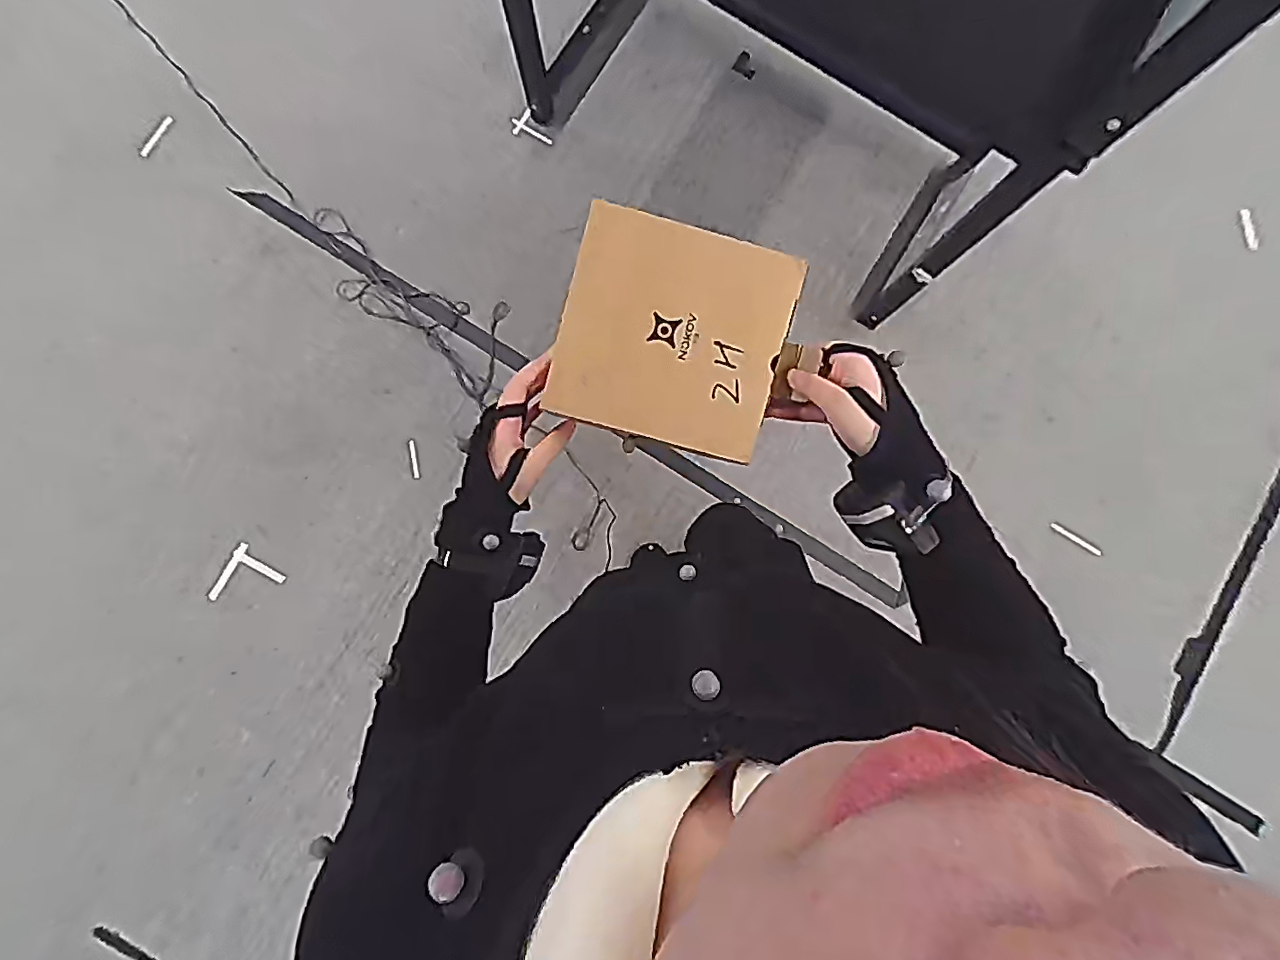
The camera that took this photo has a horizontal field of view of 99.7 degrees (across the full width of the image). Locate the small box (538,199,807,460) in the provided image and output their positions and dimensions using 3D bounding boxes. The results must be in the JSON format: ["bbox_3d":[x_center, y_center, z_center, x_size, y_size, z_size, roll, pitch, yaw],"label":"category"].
[{"bbox_3d":[0.022,-0.118,0.493,0.179,0.176,0.168,14,94,-4],"label":"small box"}]

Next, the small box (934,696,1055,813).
[{"bbox_3d":[0.896,0.695,1.390,0.168,0.176,0.179,34,87,2],"label":"small box"}]
